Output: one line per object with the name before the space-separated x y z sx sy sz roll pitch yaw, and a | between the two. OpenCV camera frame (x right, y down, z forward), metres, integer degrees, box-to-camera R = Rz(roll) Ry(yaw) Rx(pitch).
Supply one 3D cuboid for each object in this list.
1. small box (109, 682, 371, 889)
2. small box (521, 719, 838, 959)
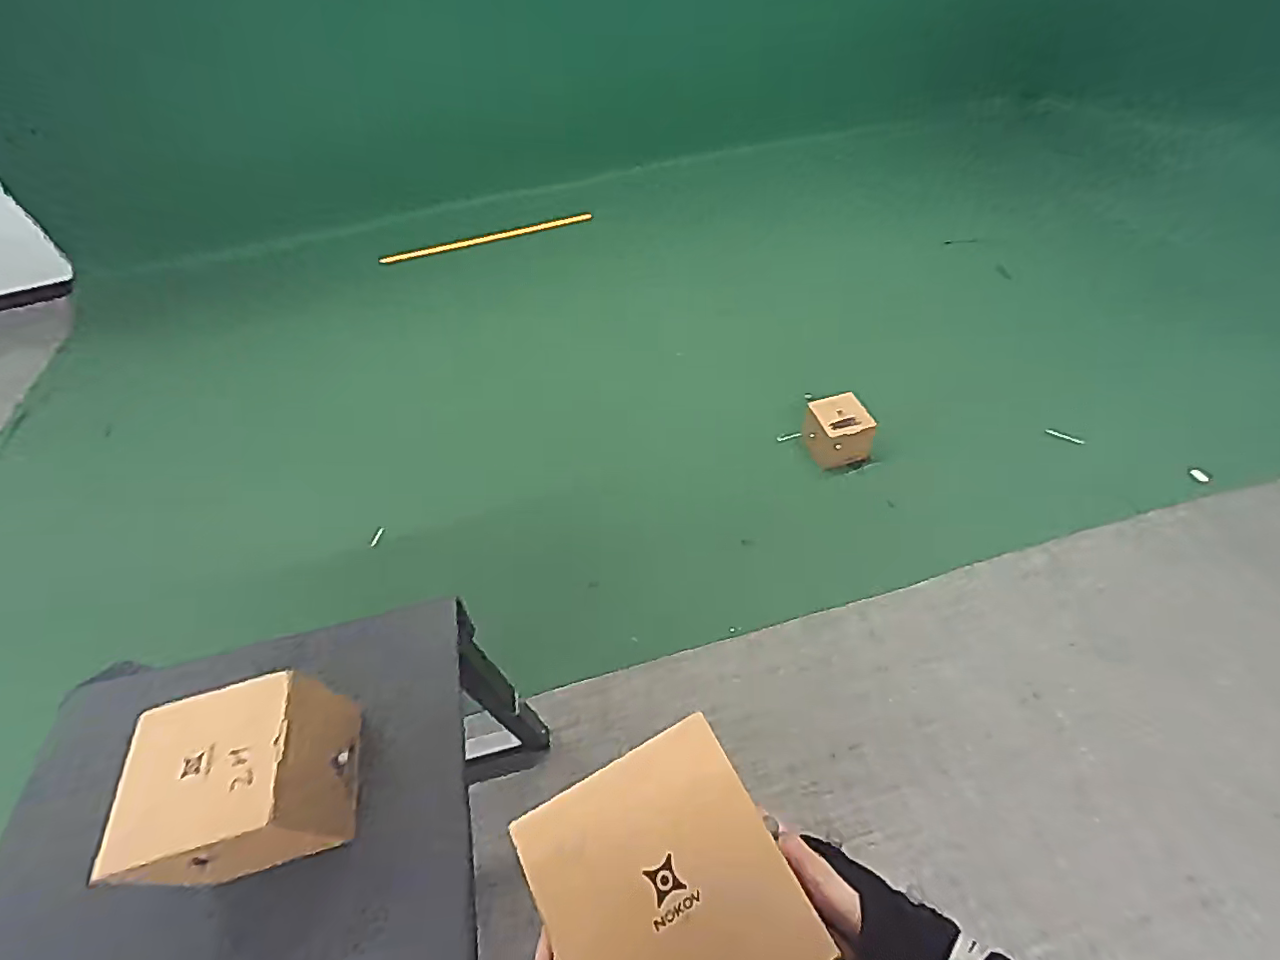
small box | -0.460 0.376 0.658 0.179 0.176 0.168 -16 52 -4
small box | 0.017 0.332 0.440 0.168 0.176 0.179 -23 60 -18
